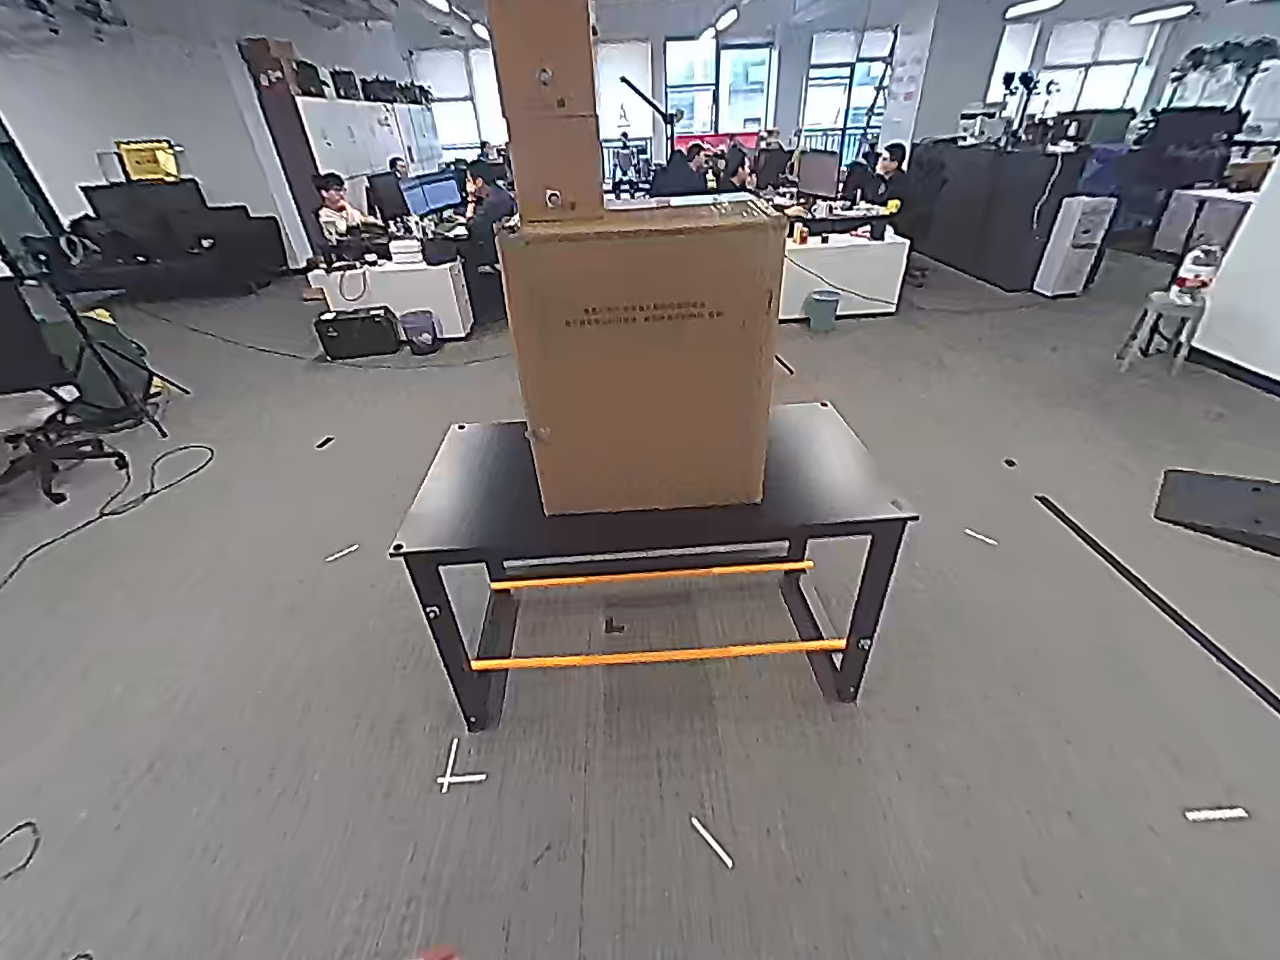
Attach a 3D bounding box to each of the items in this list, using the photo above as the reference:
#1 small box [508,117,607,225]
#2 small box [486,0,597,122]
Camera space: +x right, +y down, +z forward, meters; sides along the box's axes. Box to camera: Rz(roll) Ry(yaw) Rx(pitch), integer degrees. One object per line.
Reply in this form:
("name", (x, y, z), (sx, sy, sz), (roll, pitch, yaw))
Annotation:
("small box", (-0.158, -0.604, 1.056), (0.168, 0.176, 0.179), (-7, 36, -5))
("small box", (-0.166, -0.739, 0.961), (0.168, 0.176, 0.179), (-6, 35, -3))
